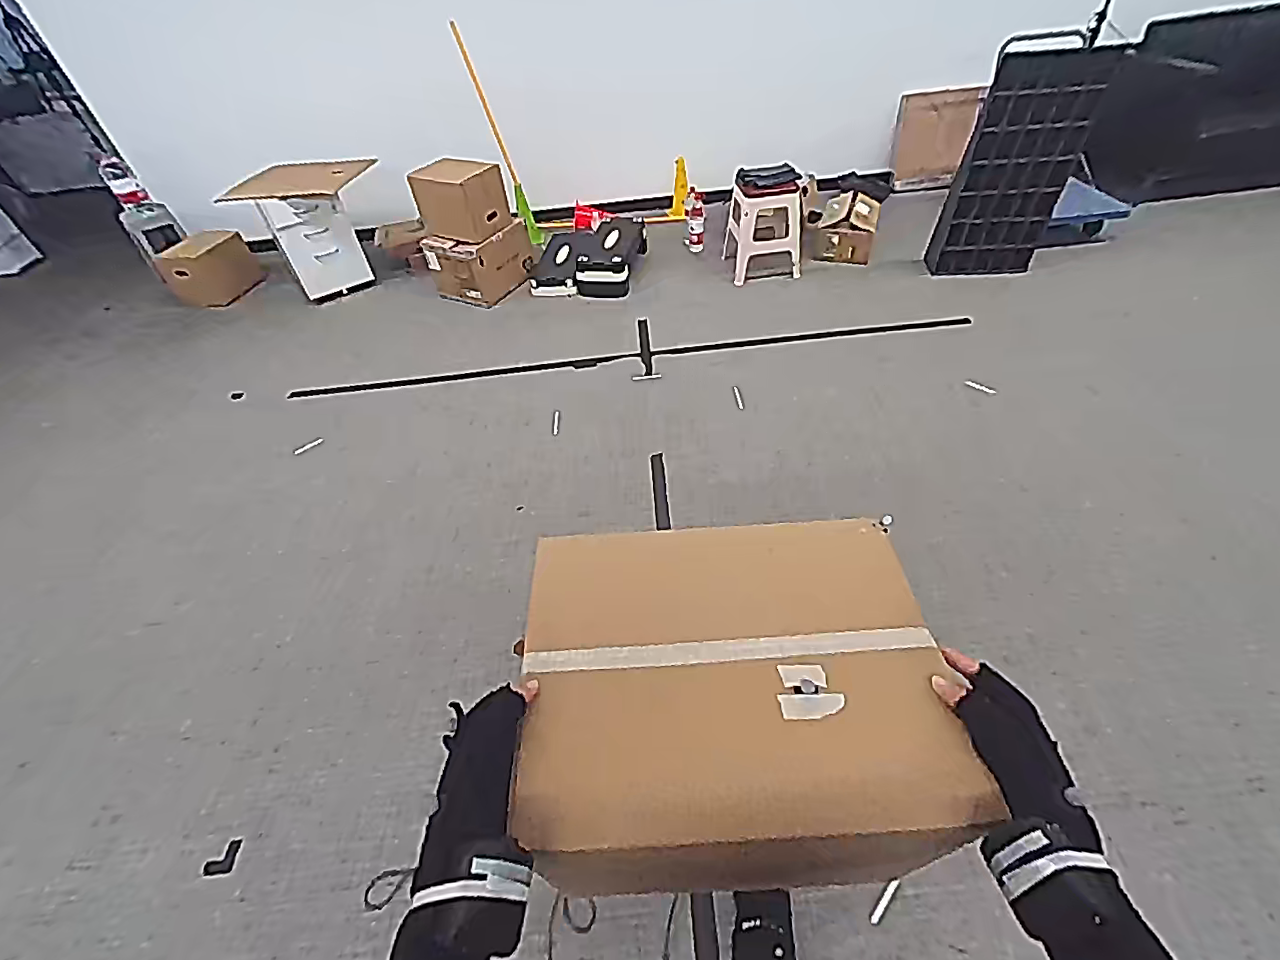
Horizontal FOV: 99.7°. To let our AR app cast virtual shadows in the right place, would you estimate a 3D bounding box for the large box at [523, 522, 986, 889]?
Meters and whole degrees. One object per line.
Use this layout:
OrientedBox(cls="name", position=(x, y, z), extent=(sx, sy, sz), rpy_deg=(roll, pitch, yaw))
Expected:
OrientedBox(cls="large box", position=(0.094, 0.278, 0.663), extent=(0.408, 0.320, 0.320), rpy_deg=(-3, 47, 0))
